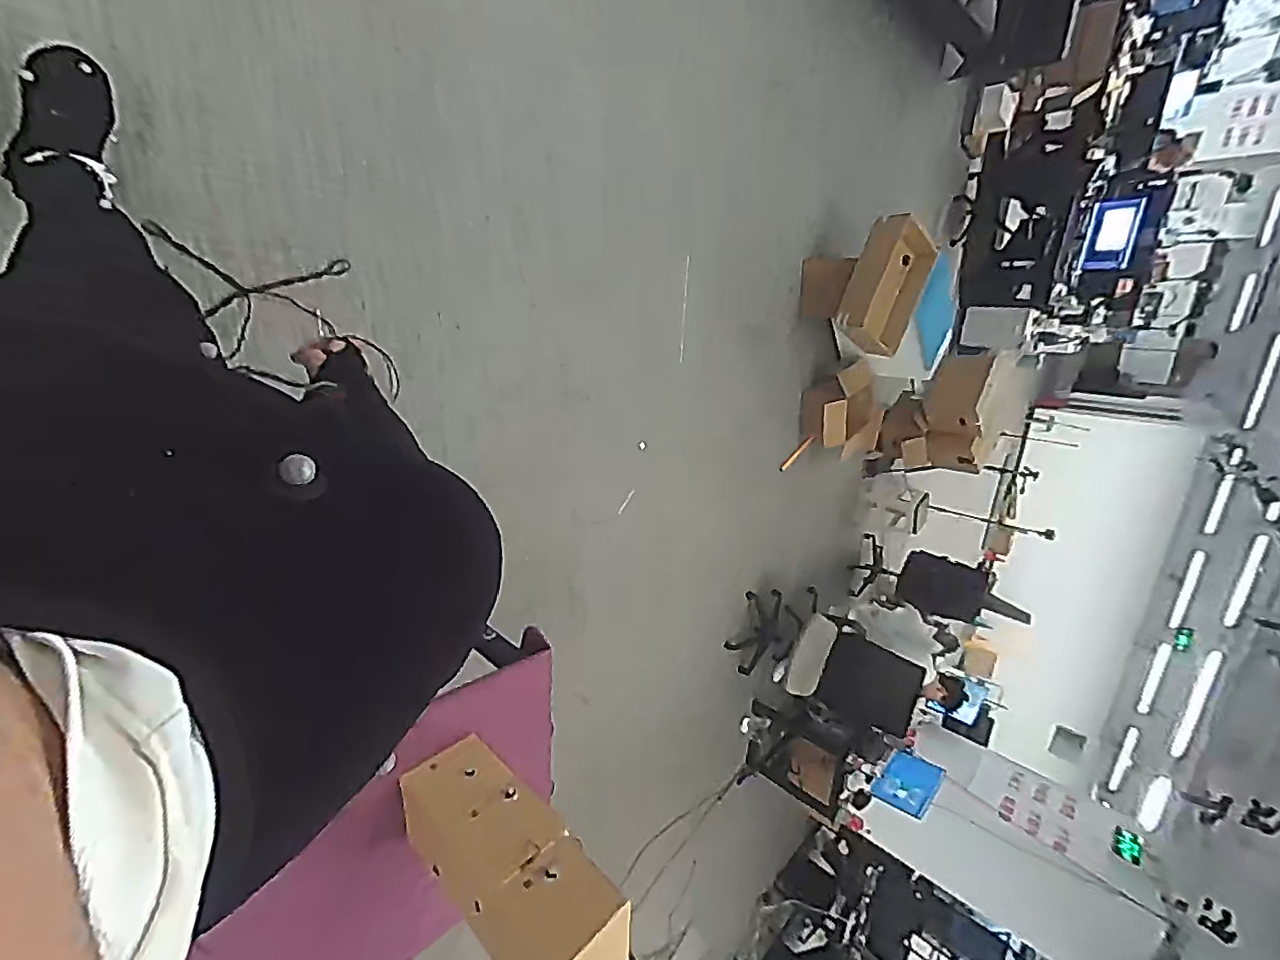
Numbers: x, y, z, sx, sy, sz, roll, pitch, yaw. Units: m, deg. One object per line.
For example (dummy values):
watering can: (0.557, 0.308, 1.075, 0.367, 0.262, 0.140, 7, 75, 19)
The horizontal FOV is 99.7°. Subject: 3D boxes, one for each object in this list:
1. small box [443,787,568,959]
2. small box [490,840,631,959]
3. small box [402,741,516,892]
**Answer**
small box: (-0.250, 0.709, 1.001, 0.168, 0.176, 0.179, -17, 117, -44)
small box: (-0.134, 0.757, 0.896, 0.168, 0.176, 0.179, -16, 116, -45)
small box: (-0.369, 0.671, 1.108, 0.168, 0.176, 0.179, -18, 117, -44)
